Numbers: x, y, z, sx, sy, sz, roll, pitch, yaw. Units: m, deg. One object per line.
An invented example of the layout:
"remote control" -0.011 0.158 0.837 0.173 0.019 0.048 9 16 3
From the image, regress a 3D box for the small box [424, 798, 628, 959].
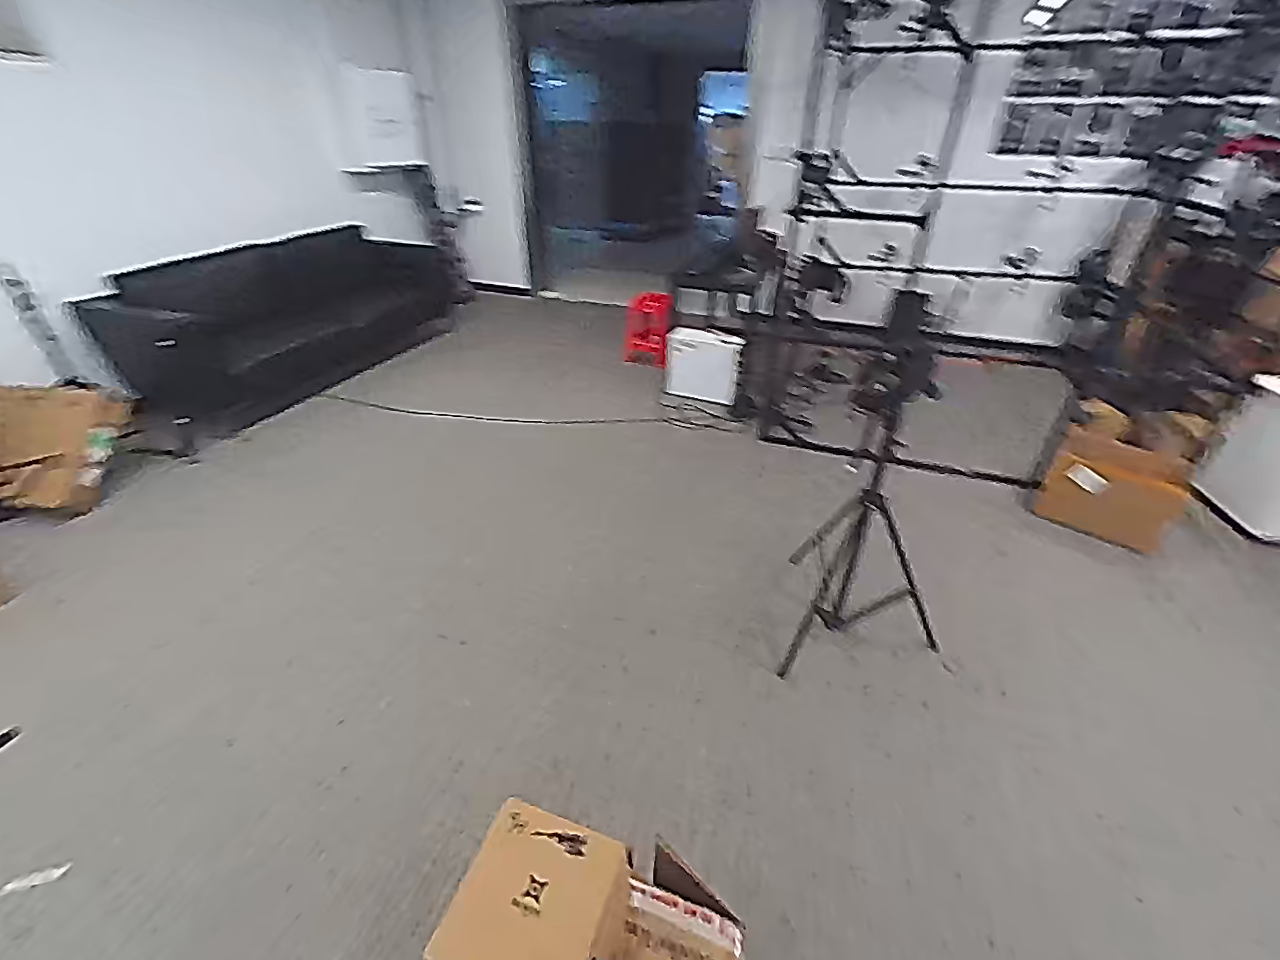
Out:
"small box" -0.118 0.532 0.647 0.168 0.176 0.179 11 37 18
